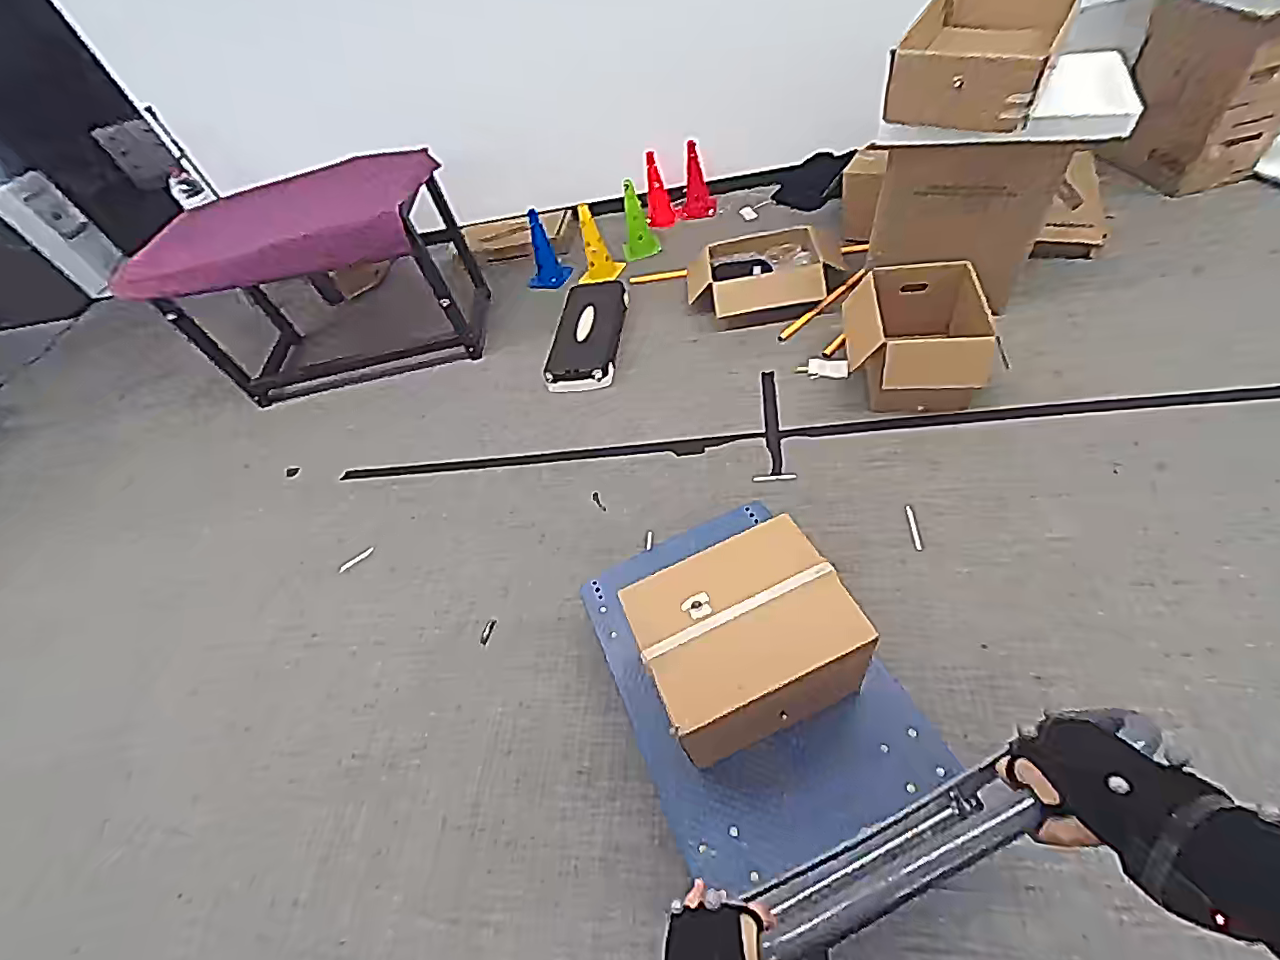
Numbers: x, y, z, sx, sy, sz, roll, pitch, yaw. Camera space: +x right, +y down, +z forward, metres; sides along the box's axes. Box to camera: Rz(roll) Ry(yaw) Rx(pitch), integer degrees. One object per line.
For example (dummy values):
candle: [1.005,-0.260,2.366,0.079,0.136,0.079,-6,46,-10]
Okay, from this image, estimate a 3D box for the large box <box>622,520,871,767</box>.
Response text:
large box: [0.226,0.360,1.183,0.408,0.320,0.320,-25,50,-5]
